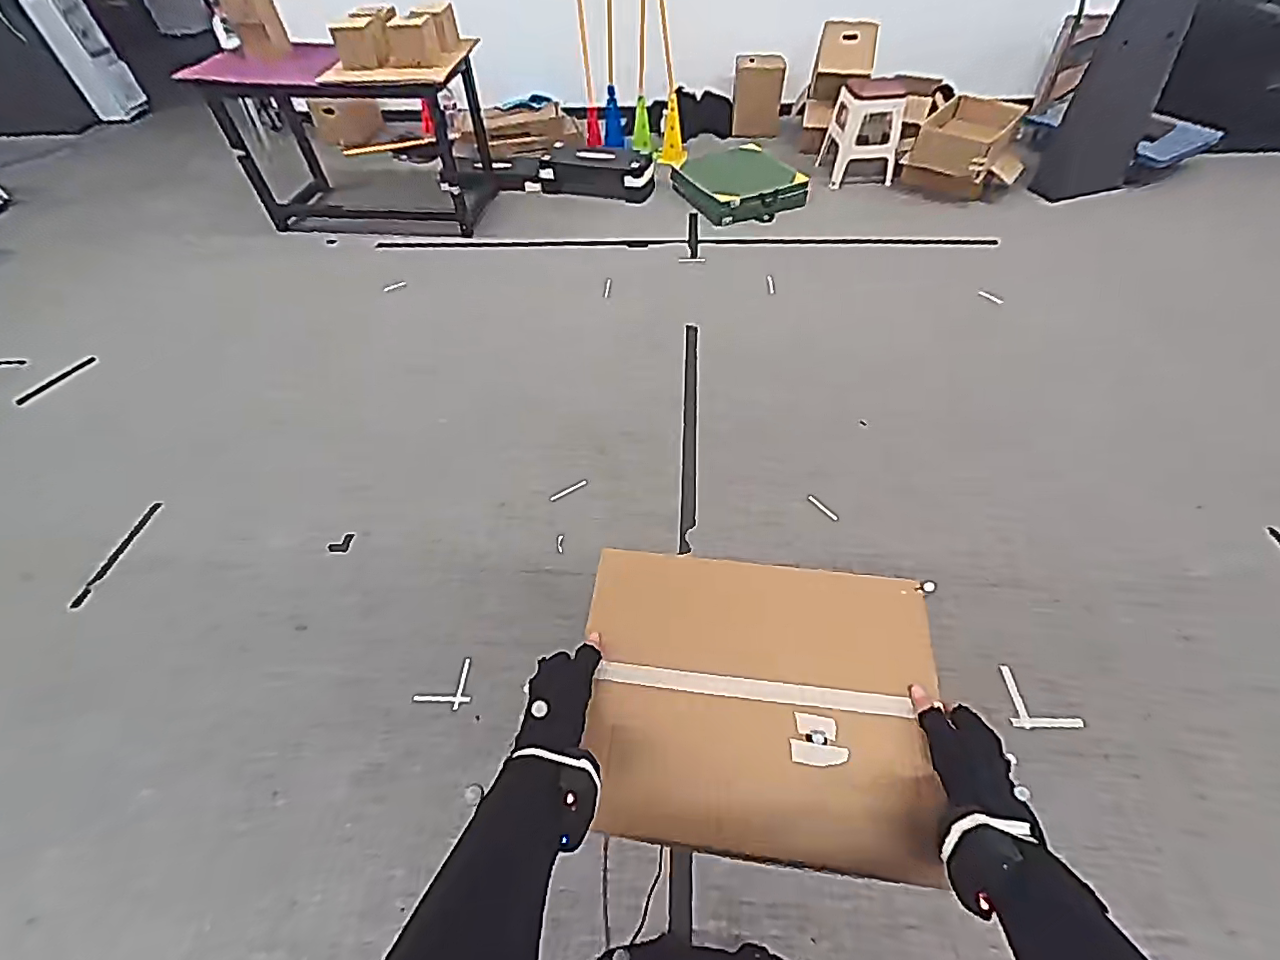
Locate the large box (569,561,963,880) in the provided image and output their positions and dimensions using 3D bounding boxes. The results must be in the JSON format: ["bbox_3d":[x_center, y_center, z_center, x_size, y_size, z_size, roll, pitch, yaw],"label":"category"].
[{"bbox_3d":[0.142,0.333,0.750,0.408,0.320,0.320,5,57,6],"label":"large box"}]
